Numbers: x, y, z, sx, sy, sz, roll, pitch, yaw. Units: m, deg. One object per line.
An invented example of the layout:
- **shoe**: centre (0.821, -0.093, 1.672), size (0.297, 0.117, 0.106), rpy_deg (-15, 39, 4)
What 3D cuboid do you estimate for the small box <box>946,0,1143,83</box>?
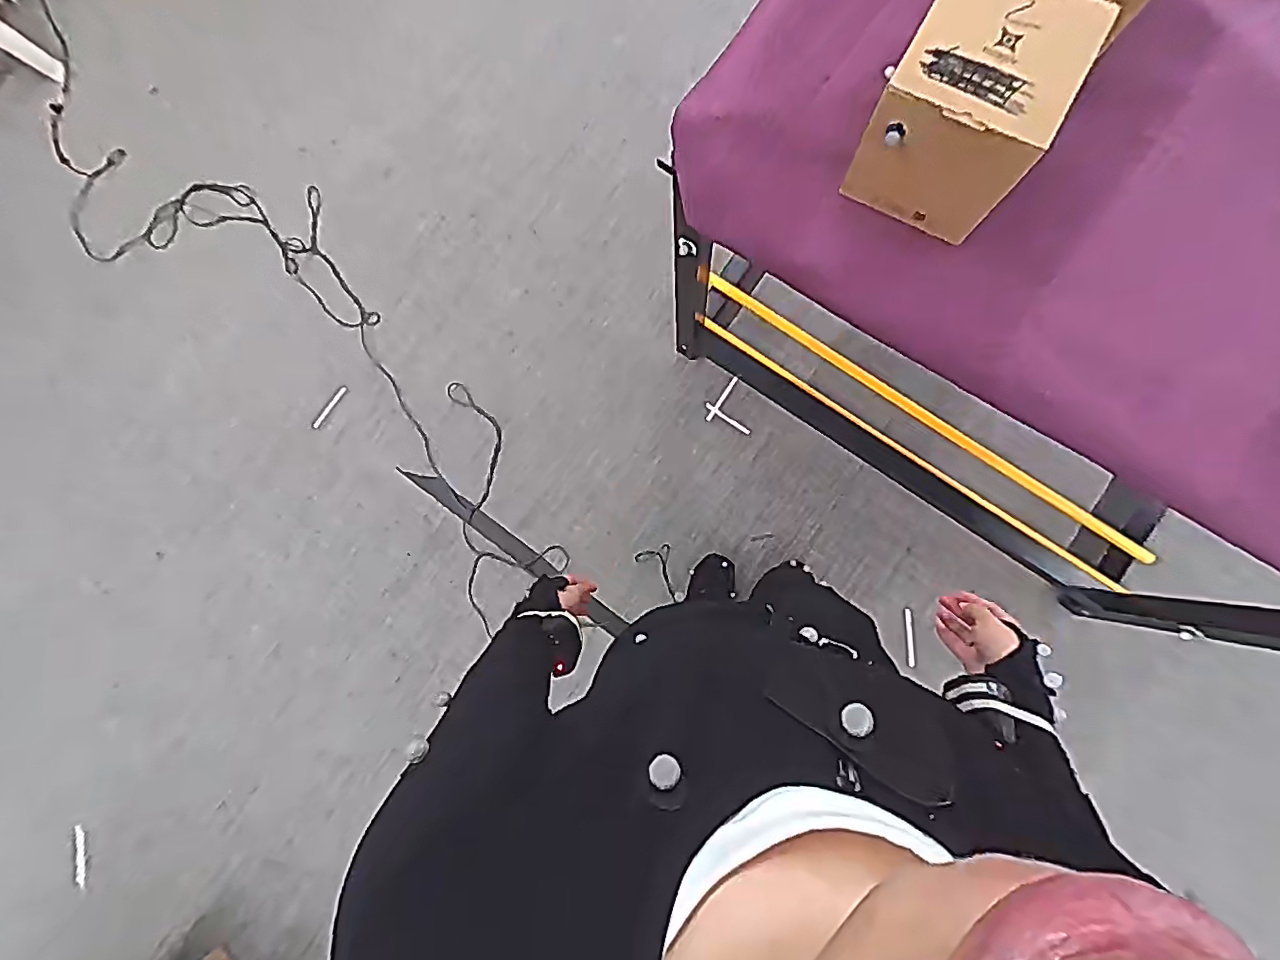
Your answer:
- **small box**: centre (0.506, -0.615, 0.627), size (0.179, 0.176, 0.168), rpy_deg (31, 87, 6)
